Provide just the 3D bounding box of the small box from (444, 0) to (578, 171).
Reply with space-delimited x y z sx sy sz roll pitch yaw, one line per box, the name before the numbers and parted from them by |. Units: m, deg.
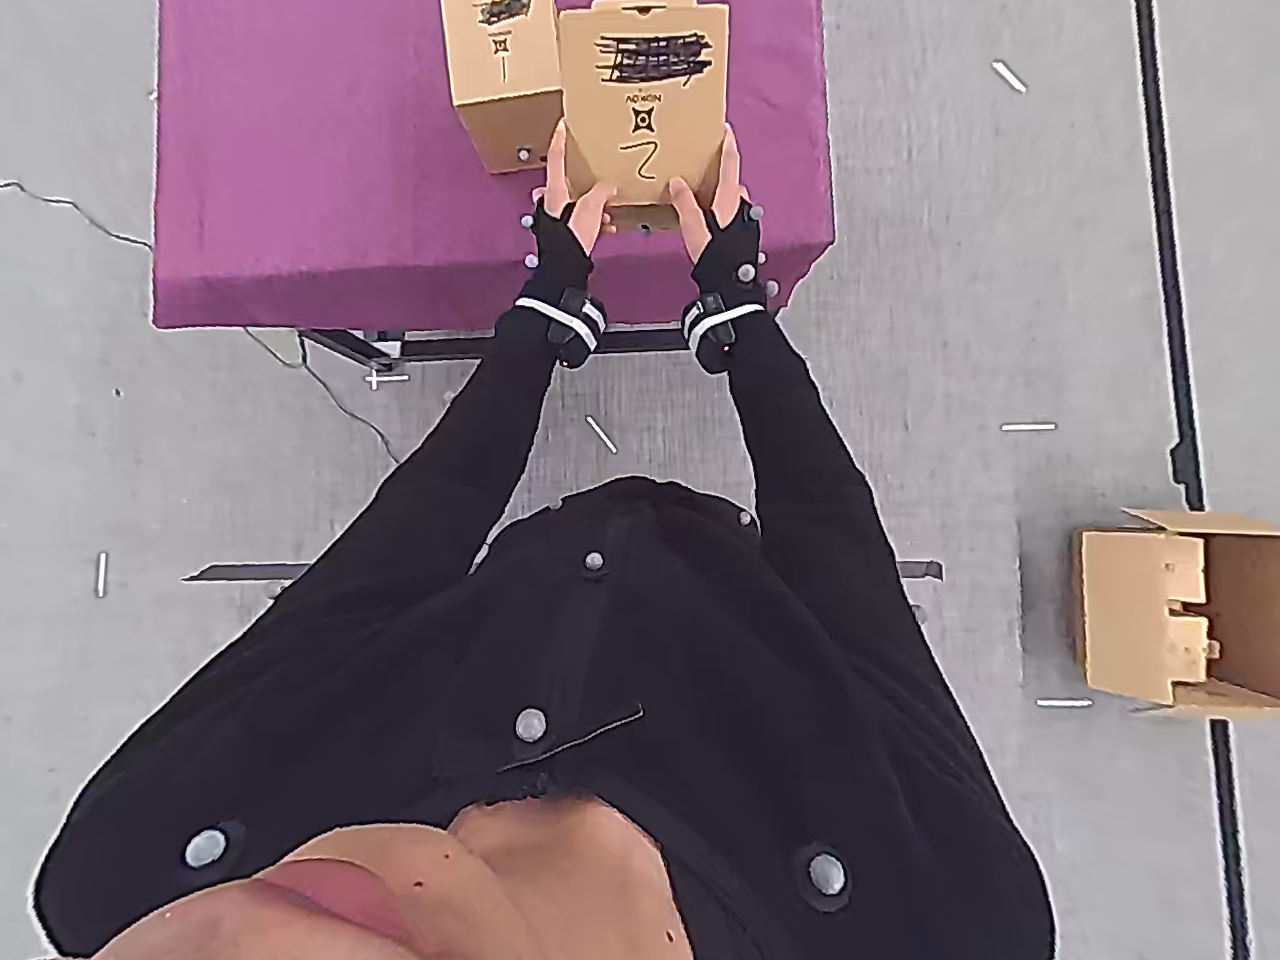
small box | -0.200 -0.643 0.877 0.168 0.176 0.179 -7 87 2
